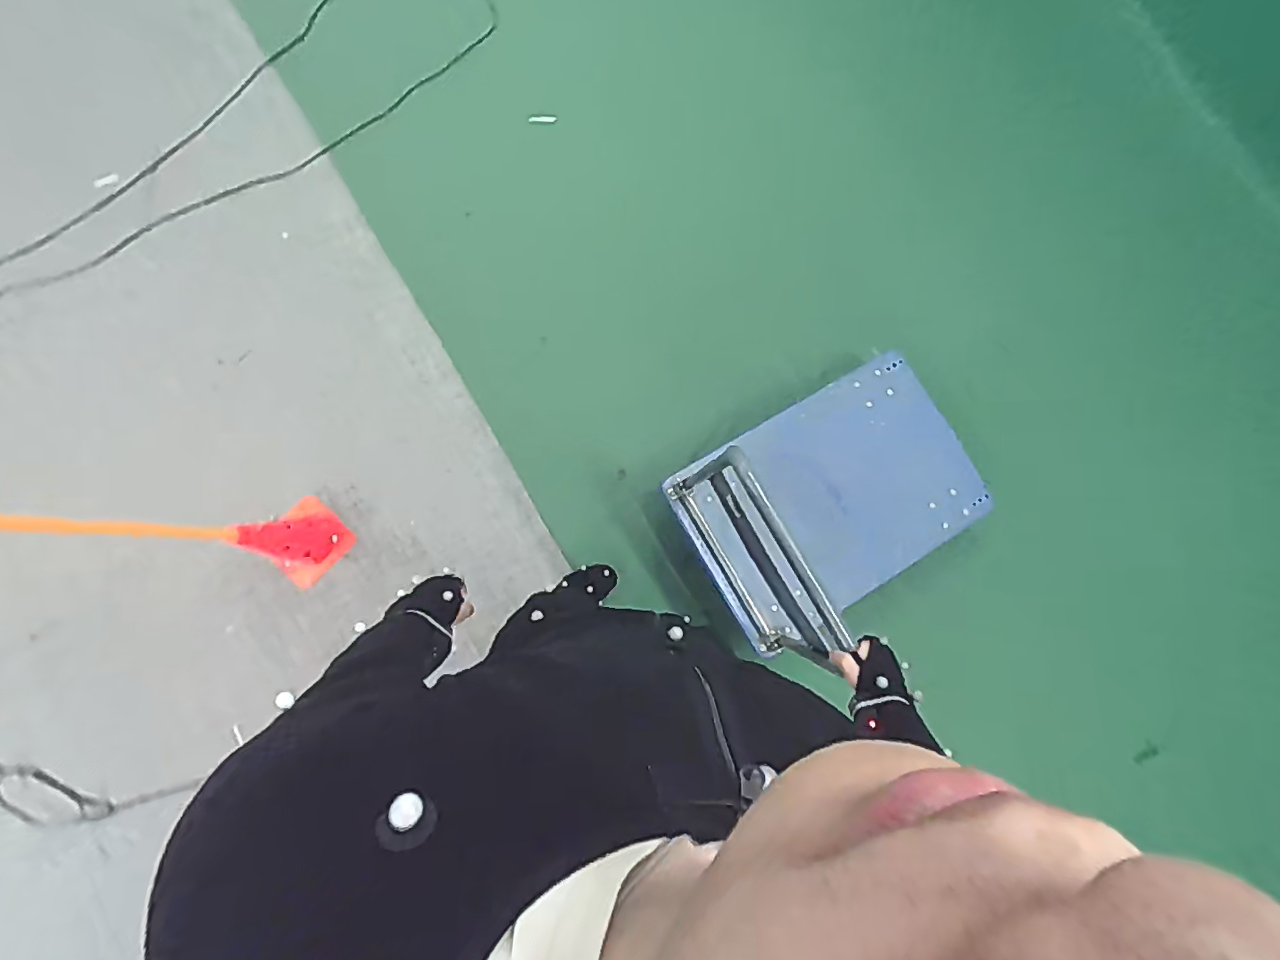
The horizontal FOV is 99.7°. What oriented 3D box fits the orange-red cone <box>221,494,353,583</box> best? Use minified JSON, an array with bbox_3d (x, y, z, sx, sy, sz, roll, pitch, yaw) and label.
[{"bbox_3d":[-0.935,0.137,1.376,0.199,0.360,0.198,44,79,3],"label":"orange-red cone"}]
